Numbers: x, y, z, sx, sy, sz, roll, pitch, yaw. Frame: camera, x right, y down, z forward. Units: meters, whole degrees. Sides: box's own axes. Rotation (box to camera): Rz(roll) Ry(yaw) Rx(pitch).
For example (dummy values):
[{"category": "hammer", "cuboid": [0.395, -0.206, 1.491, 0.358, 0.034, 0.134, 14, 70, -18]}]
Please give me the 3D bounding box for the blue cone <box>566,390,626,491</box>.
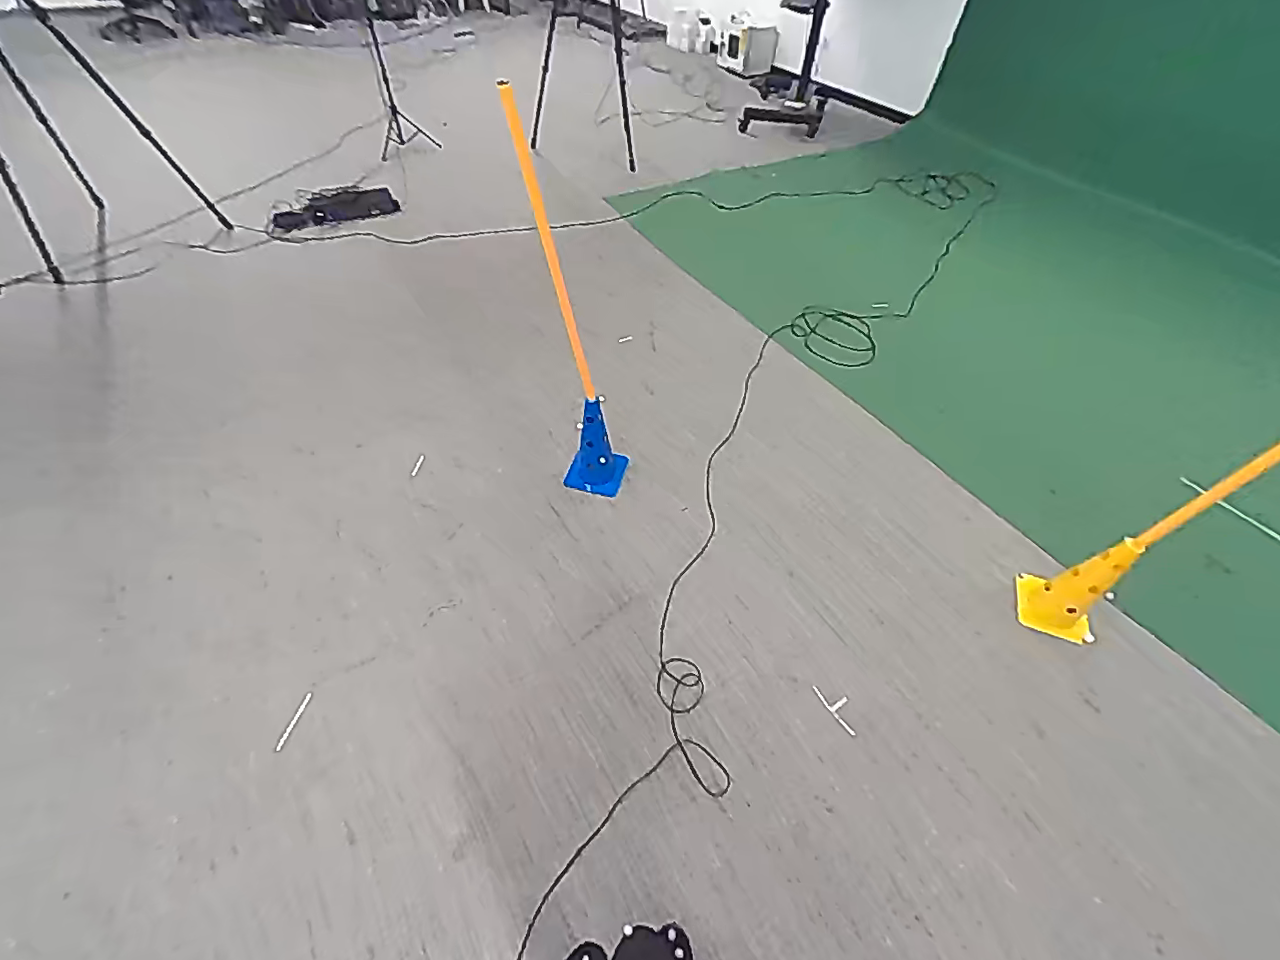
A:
[{"category": "blue cone", "cuboid": [-0.158, -0.144, 1.813, 0.193, 0.380, 0.192, 11, 51, 8]}]
